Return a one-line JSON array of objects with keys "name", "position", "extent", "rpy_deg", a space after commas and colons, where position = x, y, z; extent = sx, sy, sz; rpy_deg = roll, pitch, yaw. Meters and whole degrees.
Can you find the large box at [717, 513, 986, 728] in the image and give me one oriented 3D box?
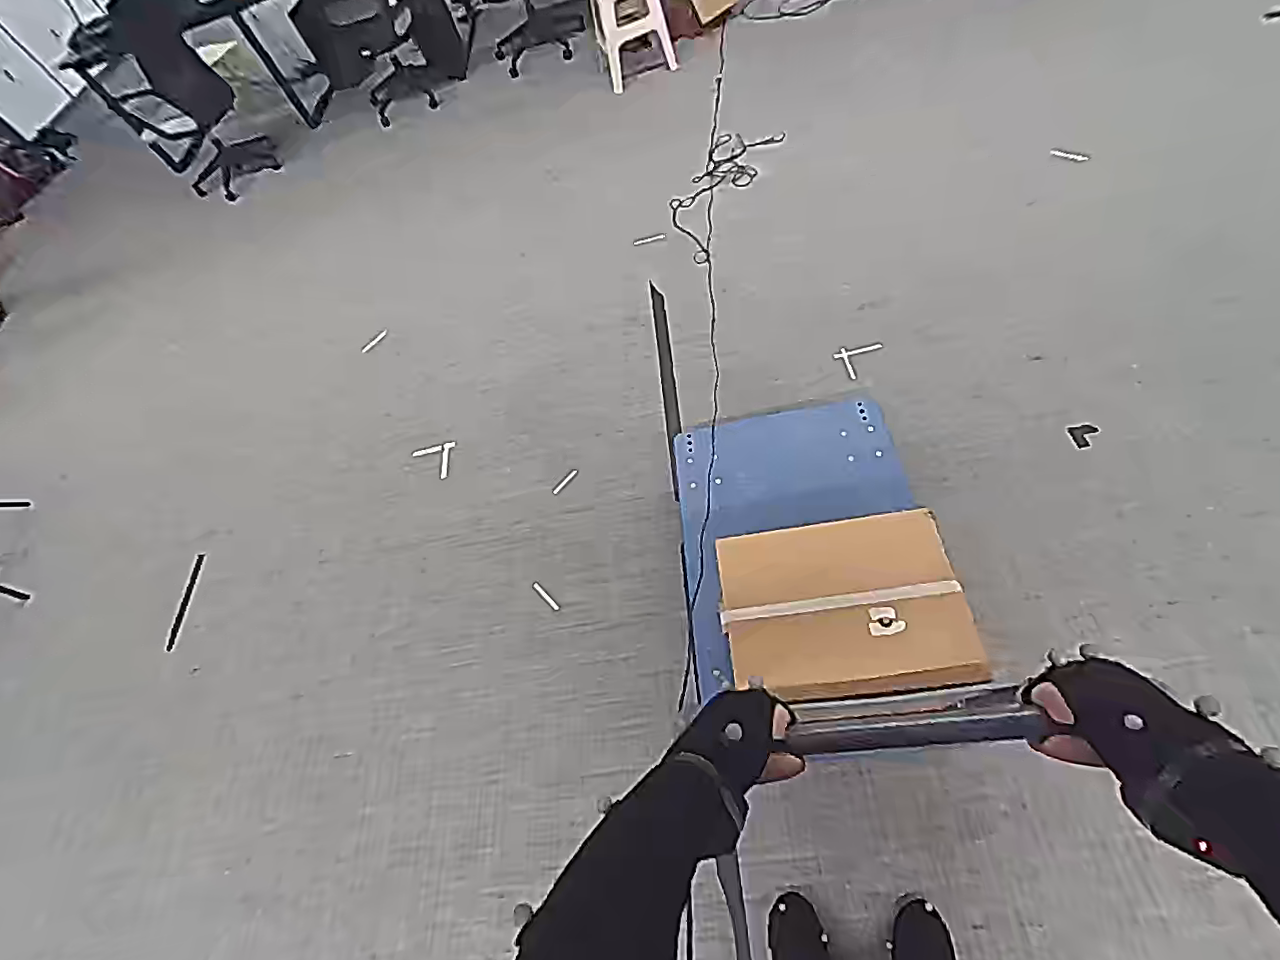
[{"name": "large box", "position": [0.389, 0.301, 1.101], "extent": [0.408, 0.320, 0.320], "rpy_deg": [-10, 59, 9]}]
